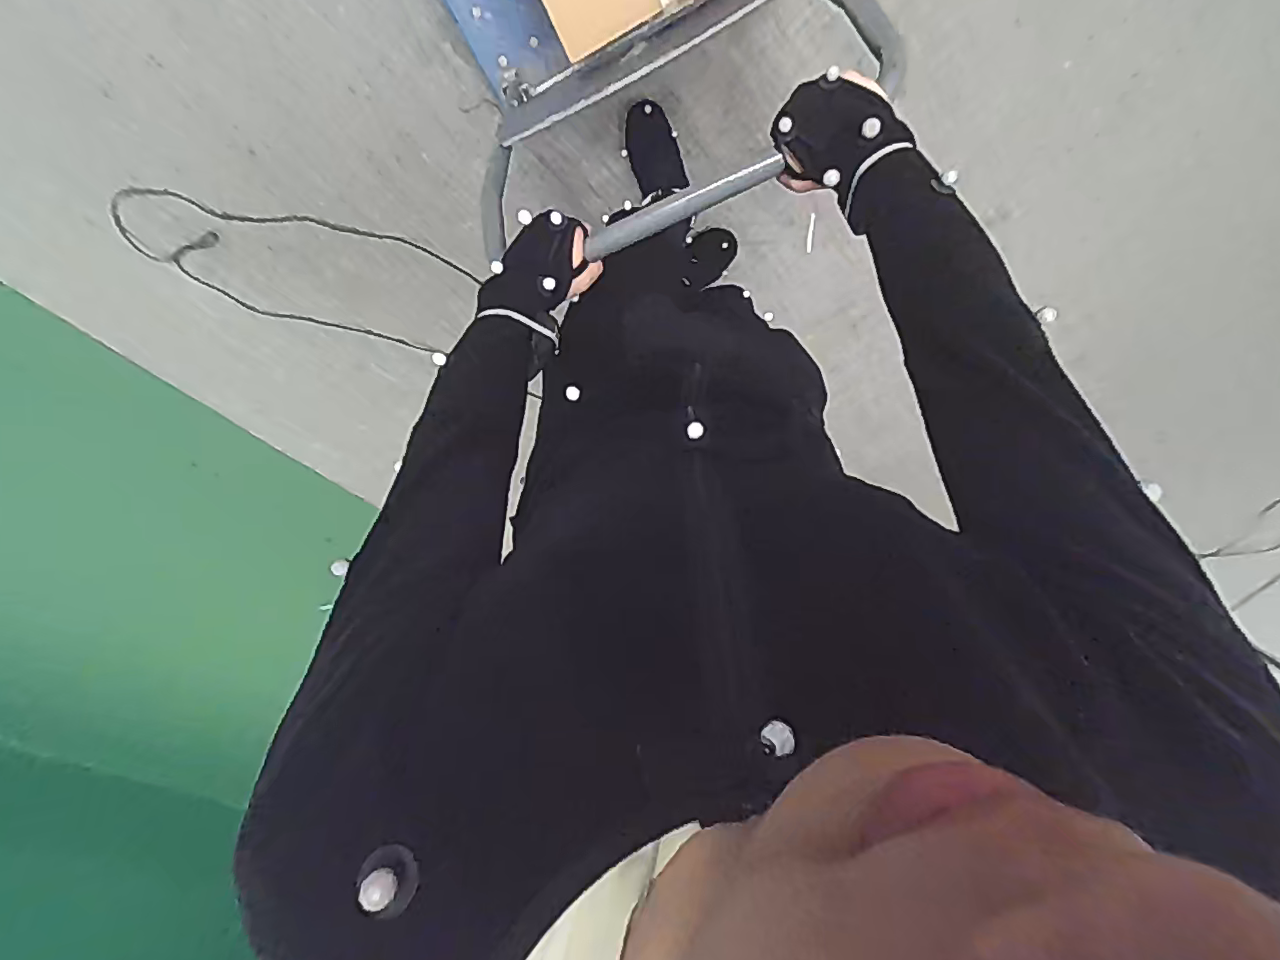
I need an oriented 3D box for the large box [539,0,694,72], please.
[{"bbox_3d":[-0.052,-0.892,0.748,0.320,0.320,0.408,-20,134,16],"label":"large box"}]
